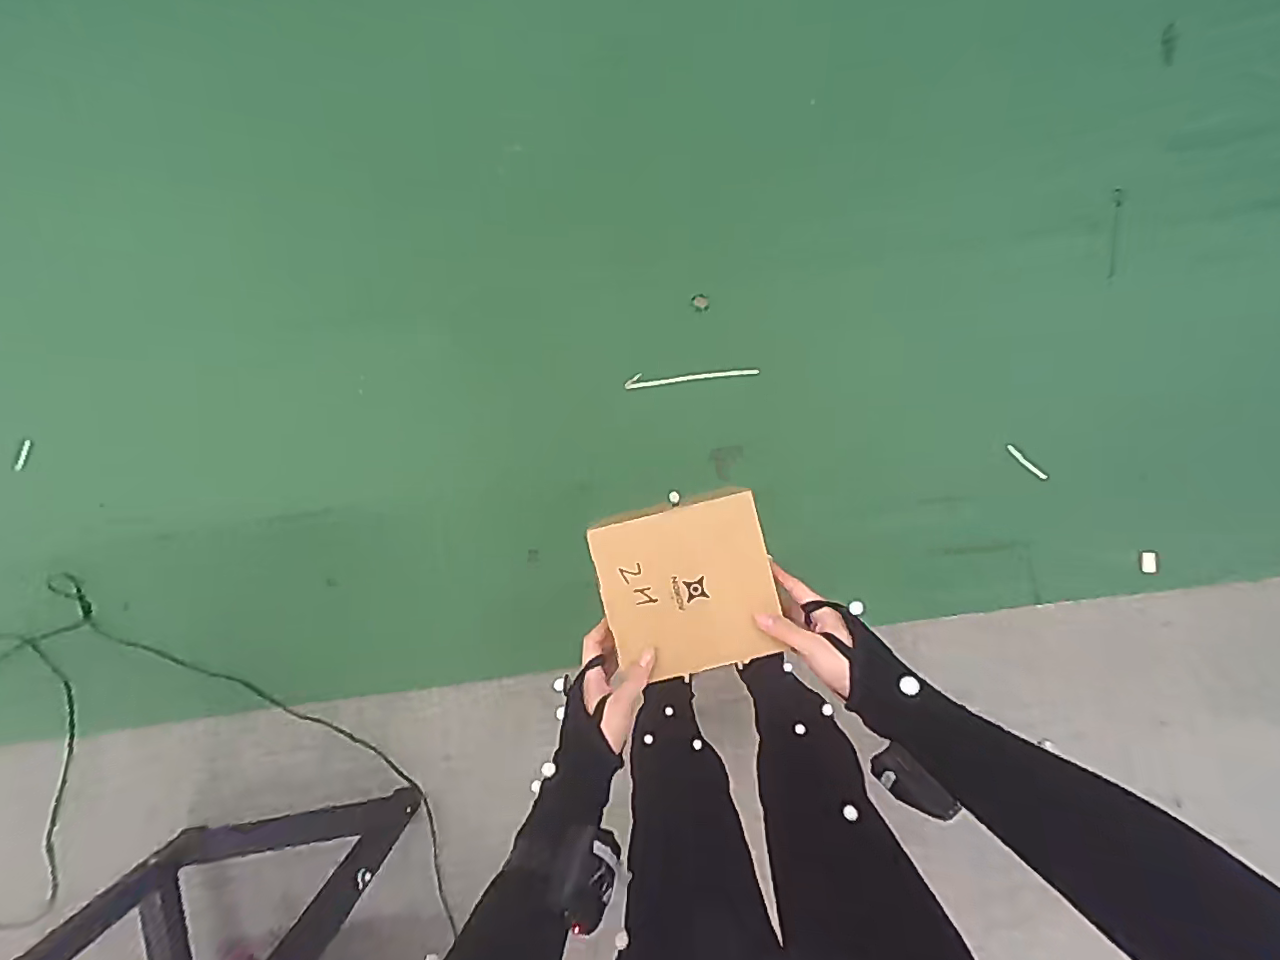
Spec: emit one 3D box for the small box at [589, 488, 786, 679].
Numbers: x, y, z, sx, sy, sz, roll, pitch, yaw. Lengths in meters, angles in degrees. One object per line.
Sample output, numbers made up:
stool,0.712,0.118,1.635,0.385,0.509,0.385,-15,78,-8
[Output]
small box,0.051,0.107,0.633,0.179,0.176,0.168,-14,89,3
